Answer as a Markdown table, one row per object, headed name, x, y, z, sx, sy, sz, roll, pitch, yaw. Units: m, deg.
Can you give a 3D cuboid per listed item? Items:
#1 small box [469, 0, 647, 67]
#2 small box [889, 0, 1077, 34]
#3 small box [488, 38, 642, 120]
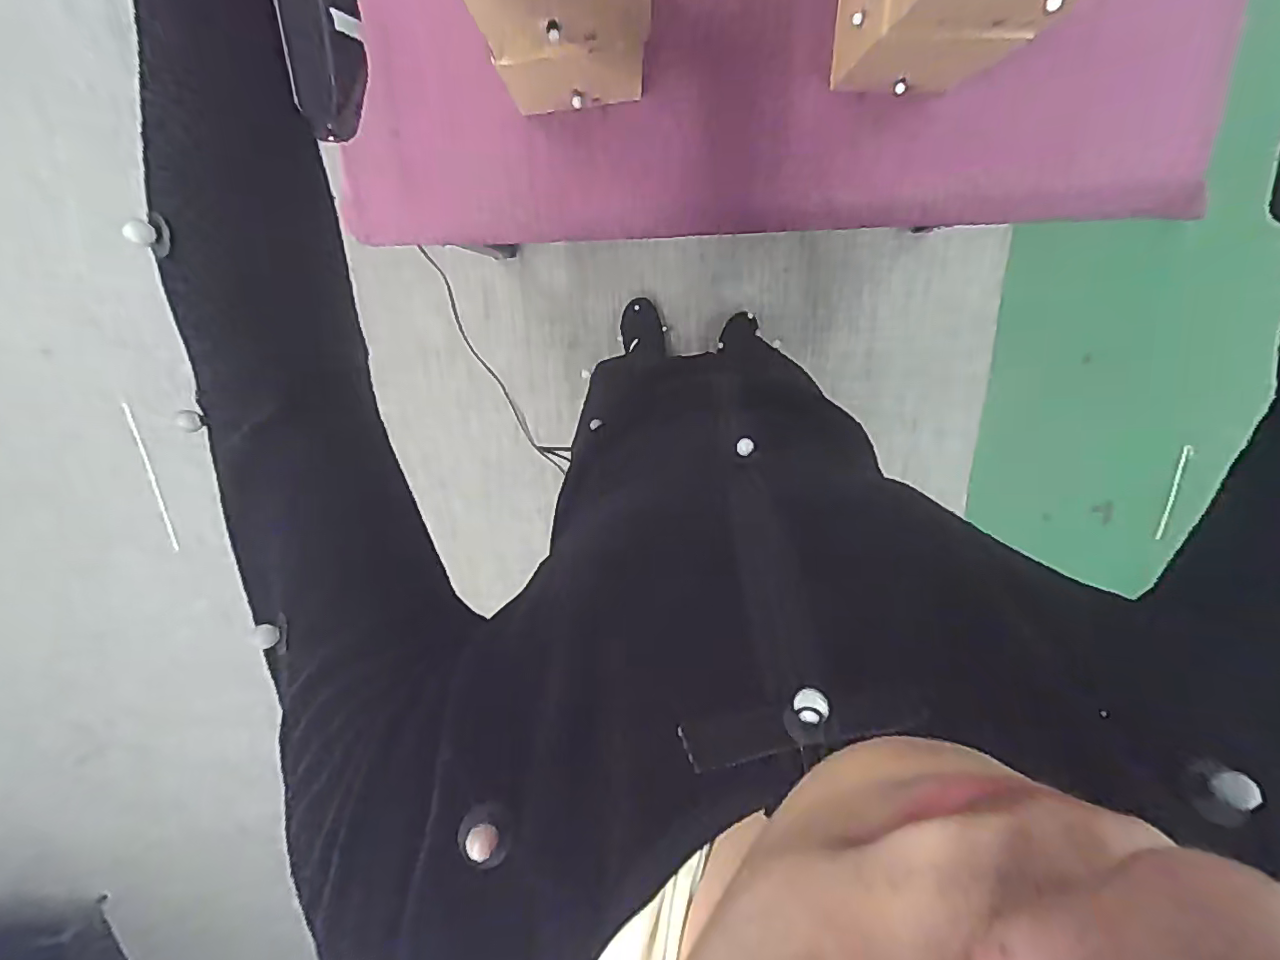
| name | x | y | z | sx | sy | sz | roll | pitch | yaw |
| --- | --- | --- | --- | --- | --- | --- | --- | --- | --- |
| small box | -0.086 | -0.513 | 0.478 | 0.168 | 0.176 | 0.179 | -9 | 108 | 2 |
| small box | 0.340 | -0.528 | 0.473 | 0.168 | 0.176 | 0.179 | 0 | 108 | 0 |
| small box | -0.089 | -0.559 | 0.635 | 0.168 | 0.176 | 0.179 | -6 | 108 | 2 |
